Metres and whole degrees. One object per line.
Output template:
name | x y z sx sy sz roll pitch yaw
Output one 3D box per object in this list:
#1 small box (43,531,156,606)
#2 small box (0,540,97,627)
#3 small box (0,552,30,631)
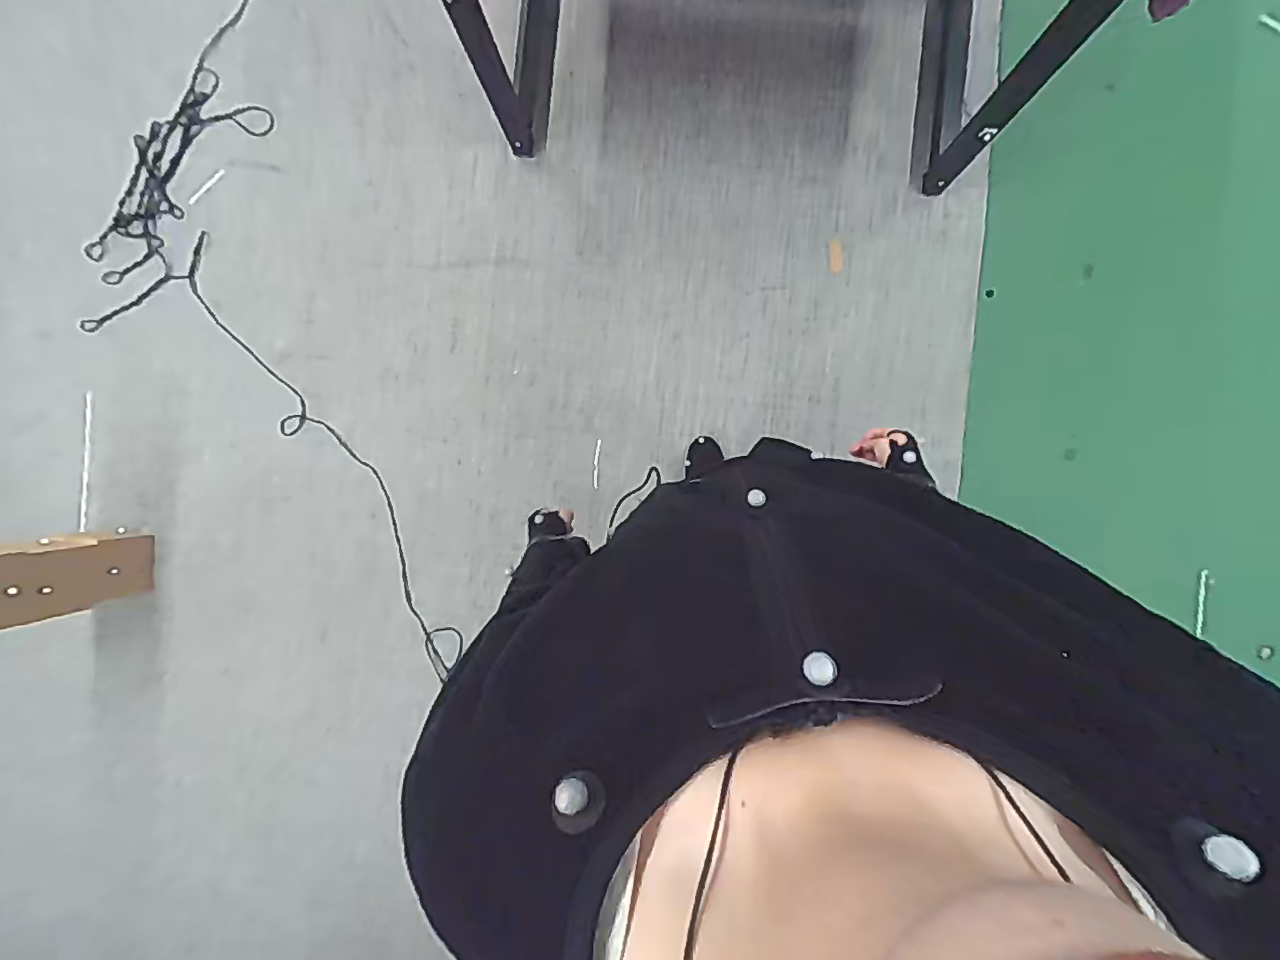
small box | -1.513 0.243 1.517 0.168 0.176 0.179 4 90 3
small box | -1.523 0.253 1.353 0.168 0.176 0.179 4 90 2
small box | -1.516 0.250 1.190 0.168 0.176 0.179 2 90 3
